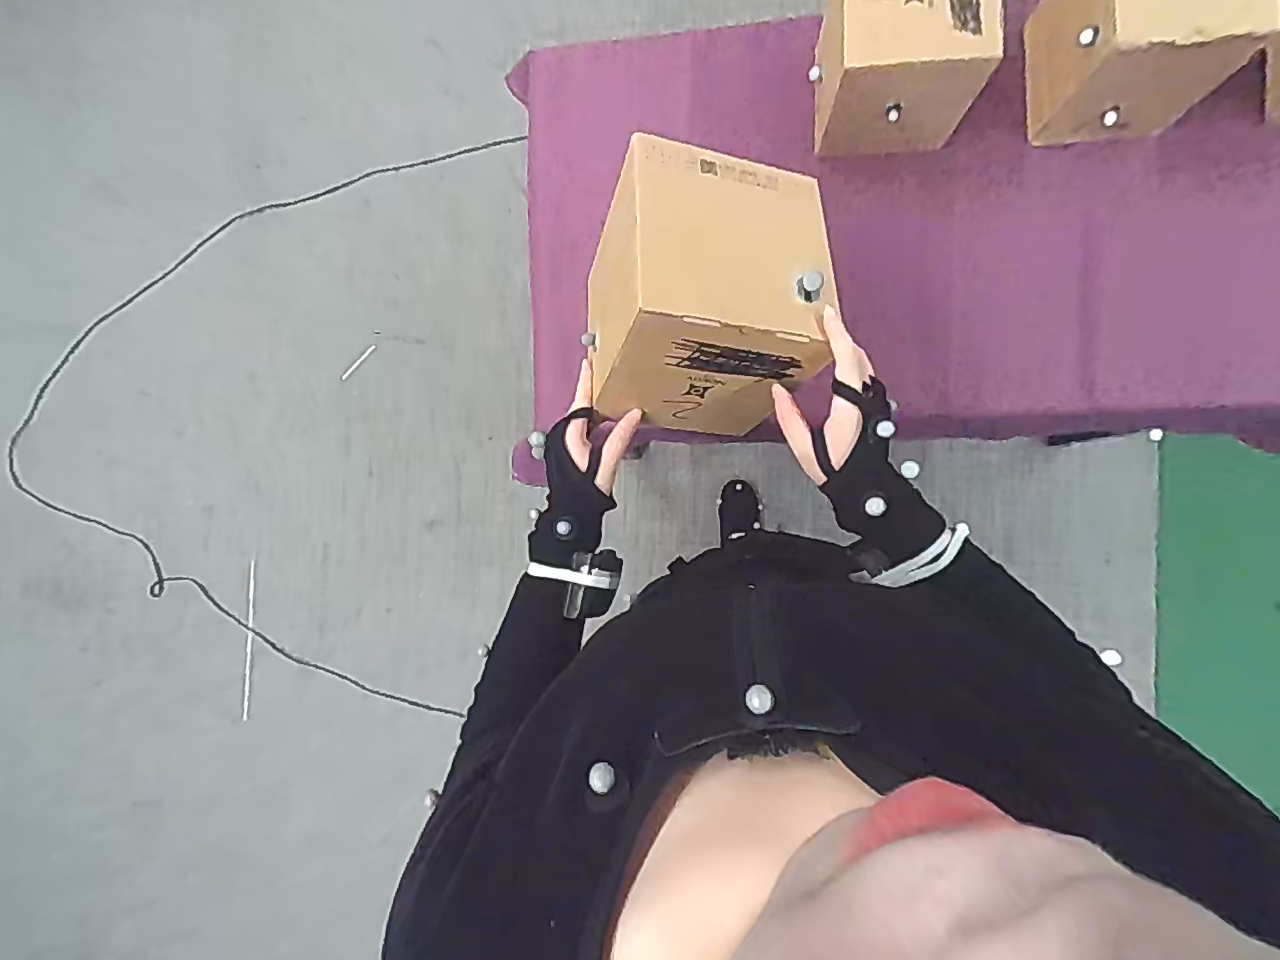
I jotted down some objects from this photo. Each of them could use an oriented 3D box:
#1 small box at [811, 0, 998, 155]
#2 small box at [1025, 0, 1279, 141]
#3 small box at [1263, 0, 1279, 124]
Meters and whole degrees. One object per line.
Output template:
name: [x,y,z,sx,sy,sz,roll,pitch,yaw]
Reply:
small box: [0.329,-0.554,0.700,0.179,0.176,0.168,1,88,8]
small box: [0.609,-0.560,0.667,0.168,0.176,0.179,-1,89,7]
small box: [0.895,-0.555,0.625,0.168,0.176,0.179,1,91,8]
